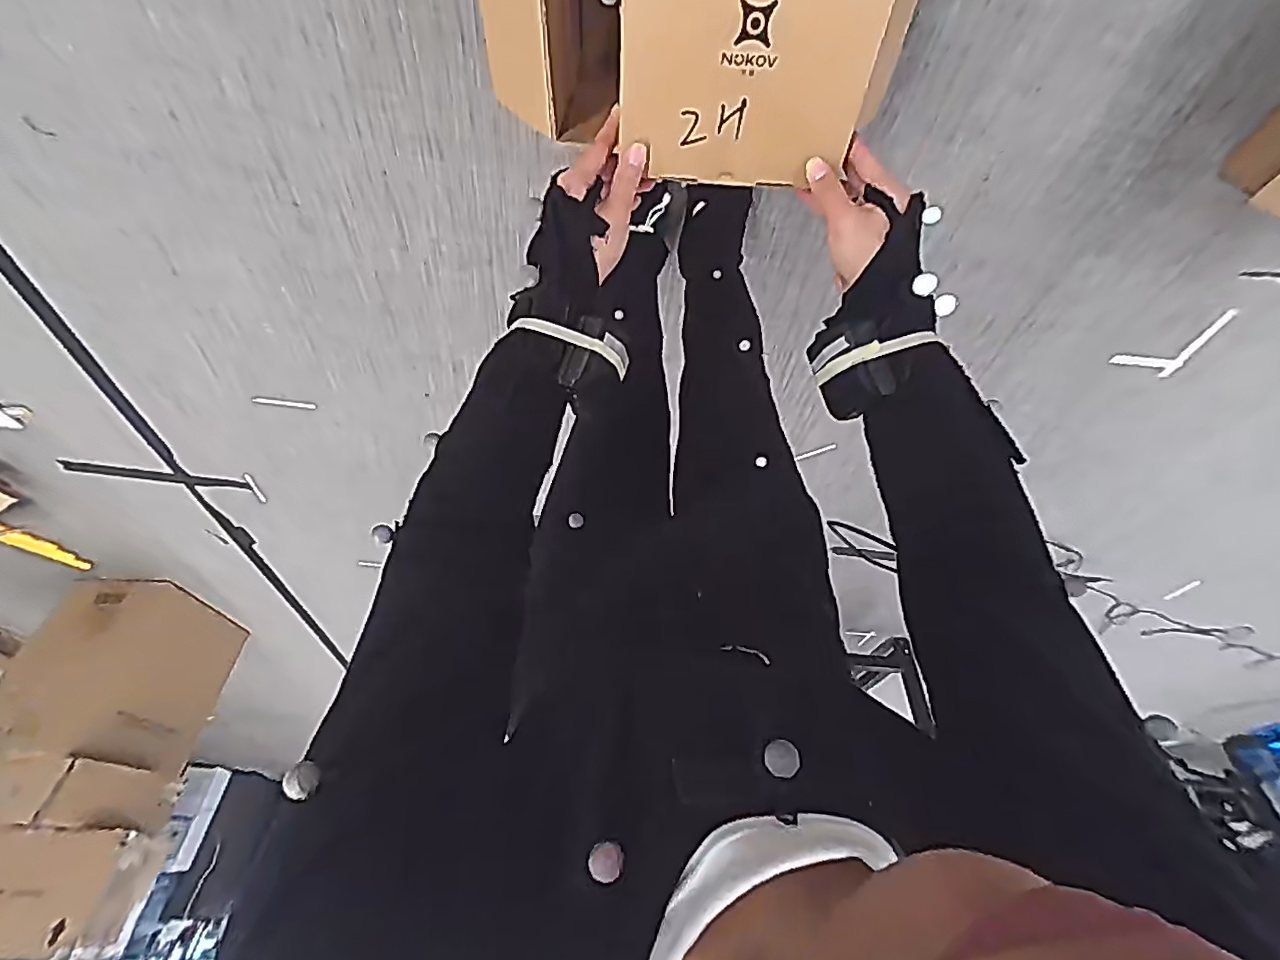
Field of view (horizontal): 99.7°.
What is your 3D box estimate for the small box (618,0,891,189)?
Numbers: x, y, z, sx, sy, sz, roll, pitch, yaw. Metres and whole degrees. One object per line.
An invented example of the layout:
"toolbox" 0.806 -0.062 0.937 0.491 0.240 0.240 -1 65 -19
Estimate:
"small box" 0.070 -0.341 0.392 0.168 0.176 0.179 3 141 -1
